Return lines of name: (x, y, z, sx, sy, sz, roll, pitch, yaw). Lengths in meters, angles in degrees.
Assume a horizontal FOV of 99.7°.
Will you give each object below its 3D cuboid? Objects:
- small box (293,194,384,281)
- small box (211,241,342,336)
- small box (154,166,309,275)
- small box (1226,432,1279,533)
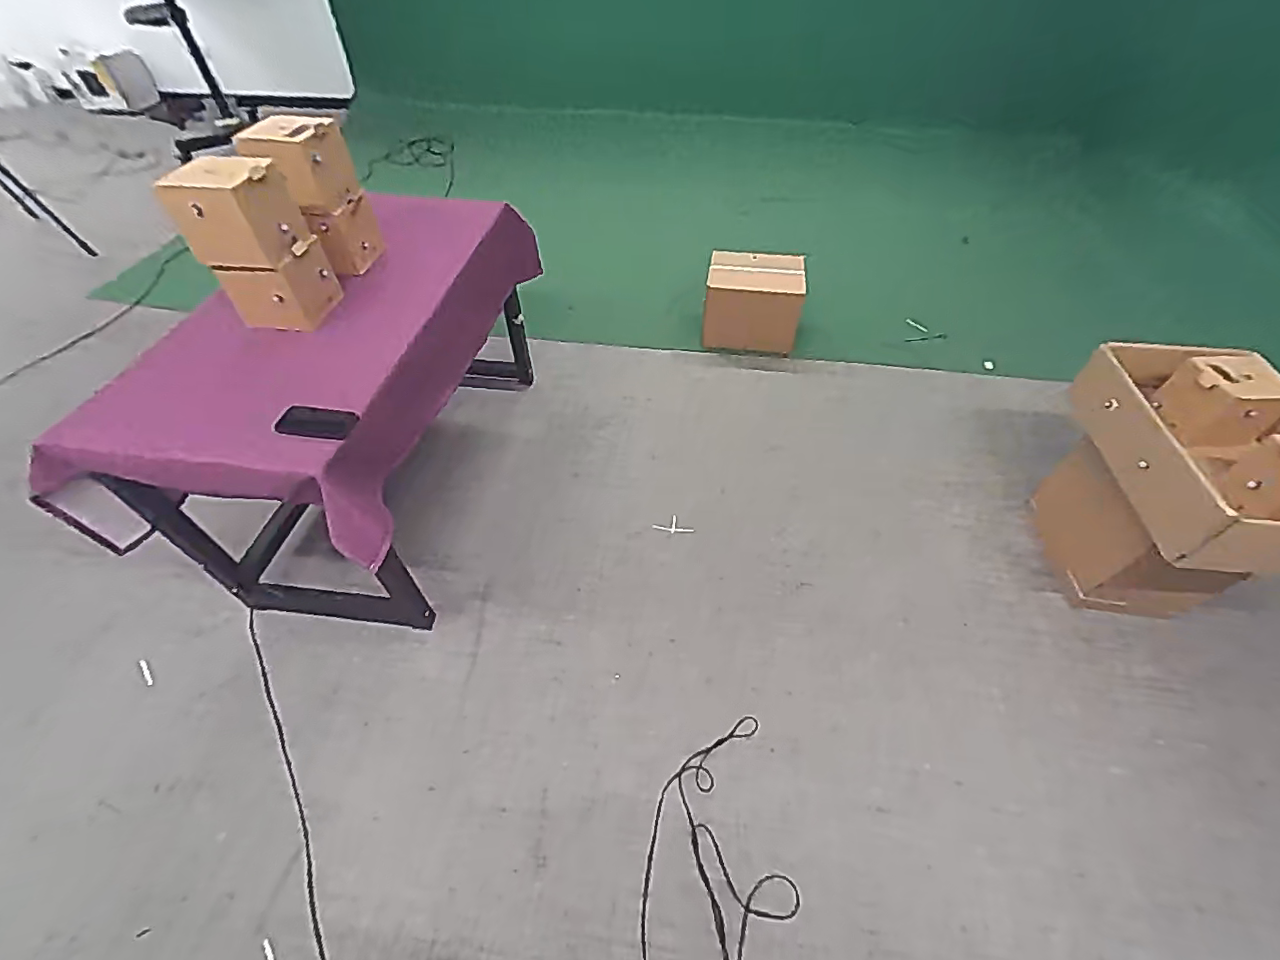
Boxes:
small box: (-0.848, -0.669, 1.493, 0.179, 0.176, 0.168, 5, 49, 4)
small box: (-0.871, -0.468, 1.321, 0.179, 0.176, 0.168, 4, 49, 5)
small box: (-0.883, -0.570, 1.190, 0.179, 0.176, 0.168, 4, 49, 4)
small box: (1.492, 0.016, 1.213, 0.179, 0.176, 0.168, 9, 50, 10)
